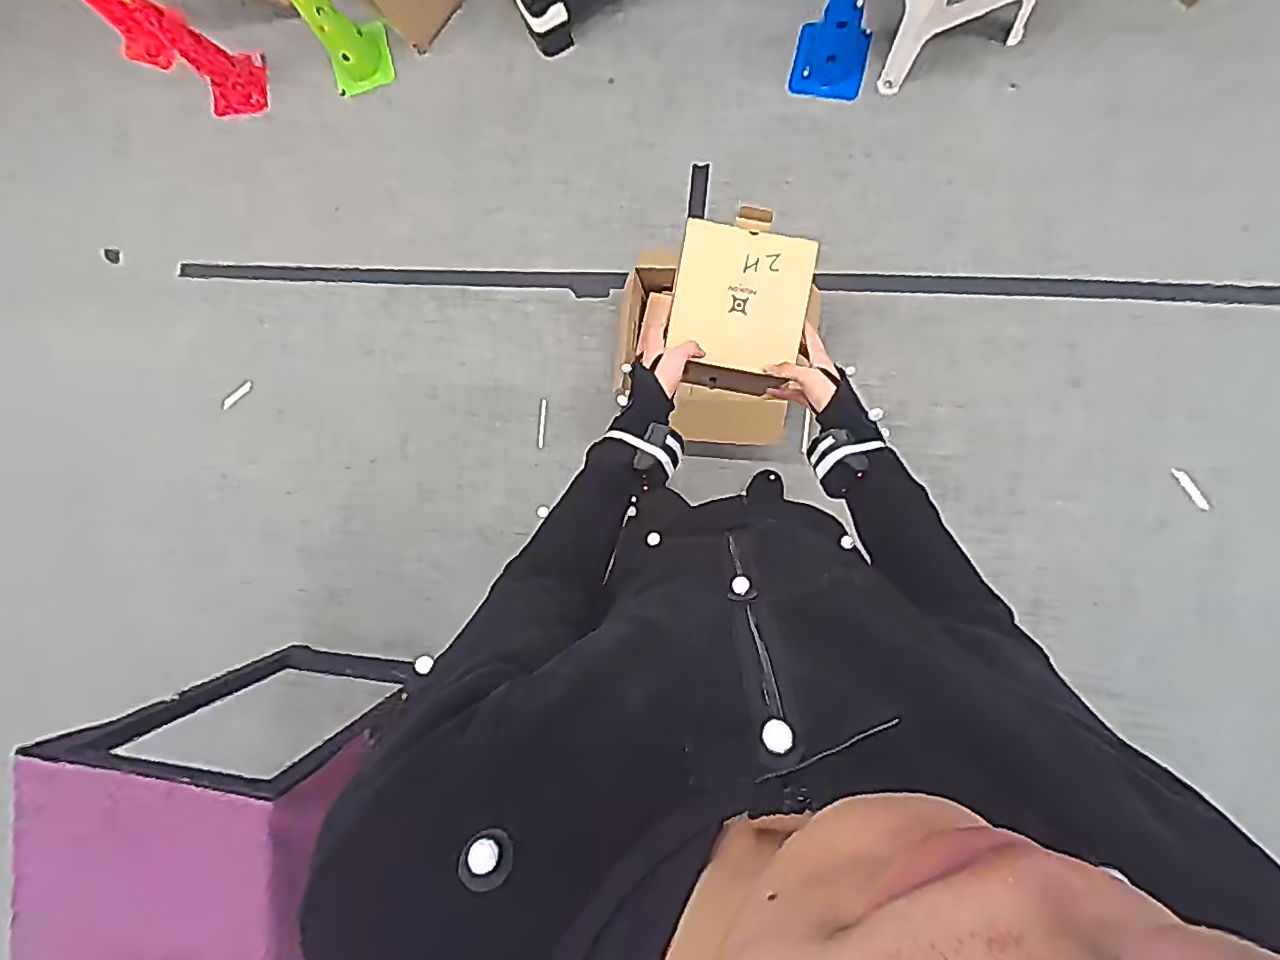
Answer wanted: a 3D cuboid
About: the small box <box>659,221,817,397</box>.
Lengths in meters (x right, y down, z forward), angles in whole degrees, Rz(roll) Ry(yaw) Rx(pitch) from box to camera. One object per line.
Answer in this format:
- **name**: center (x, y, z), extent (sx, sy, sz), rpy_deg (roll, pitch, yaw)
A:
- **small box**: center (0.121, -0.219, 0.742), extent (0.168, 0.176, 0.179), rpy_deg (11, 91, -2)
